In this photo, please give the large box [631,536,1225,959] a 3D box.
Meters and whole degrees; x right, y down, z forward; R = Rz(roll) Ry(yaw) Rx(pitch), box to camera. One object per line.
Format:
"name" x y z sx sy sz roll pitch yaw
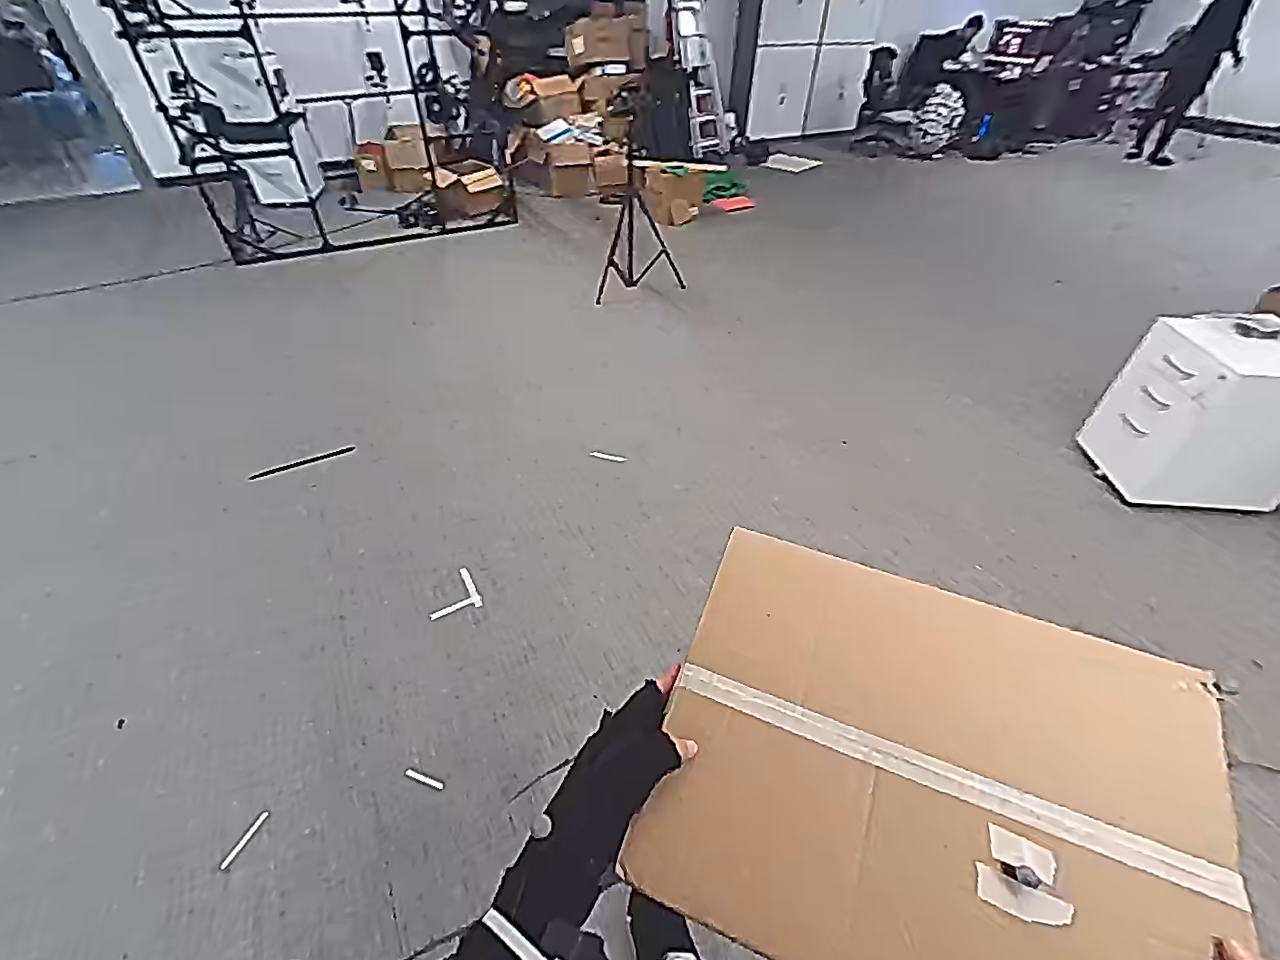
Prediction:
"large box" 0.238 0.309 0.564 0.408 0.320 0.320 17 61 15
